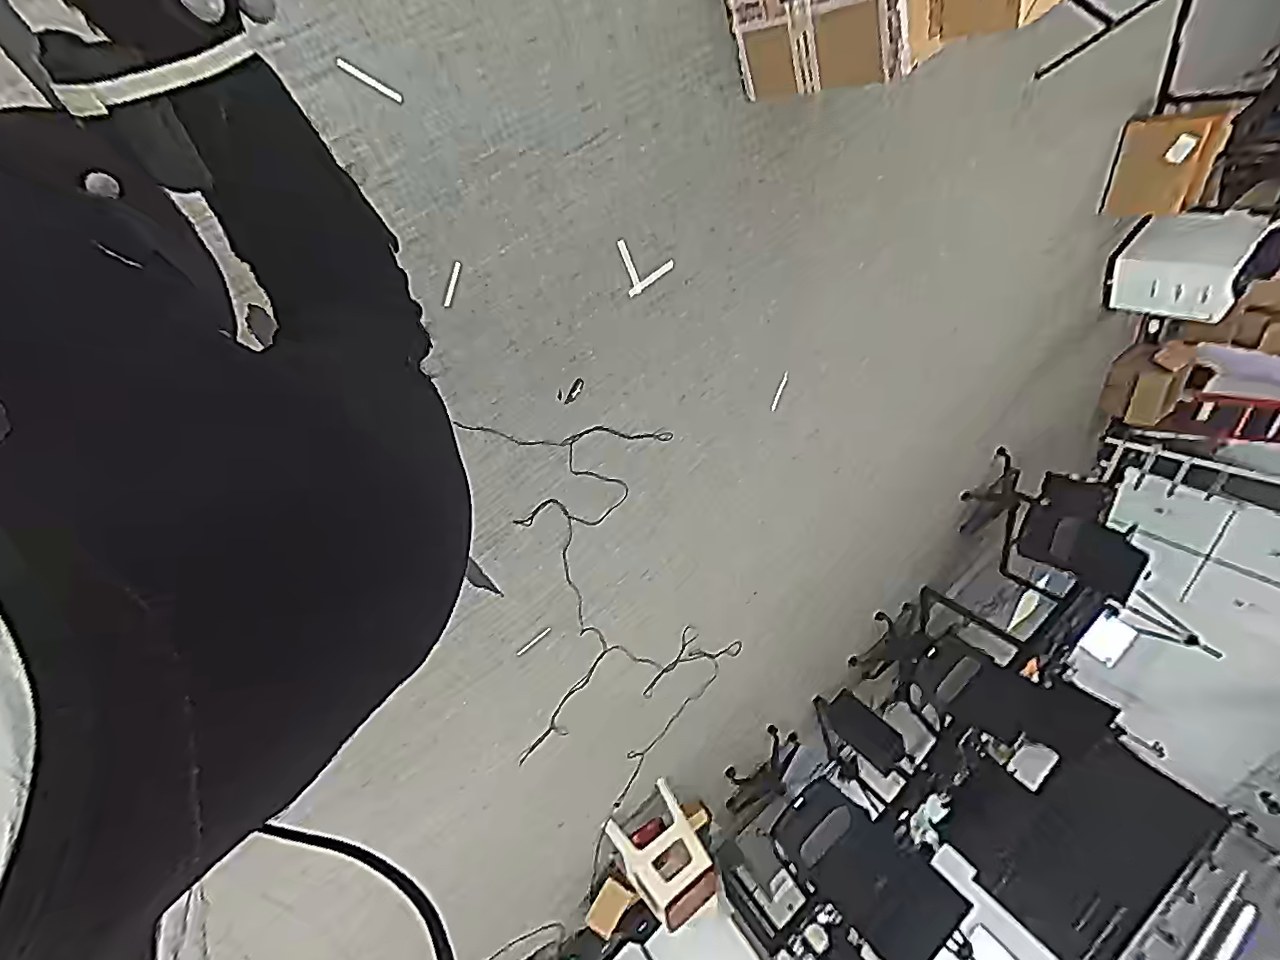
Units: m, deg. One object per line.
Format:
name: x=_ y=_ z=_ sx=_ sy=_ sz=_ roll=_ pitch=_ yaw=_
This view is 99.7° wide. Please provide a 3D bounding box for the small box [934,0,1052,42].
small box: x=0.737 y=-1.044 z=1.109 sx=0.179 sy=0.176 sz=0.168 roll=-39 pitch=135 yaw=-12
